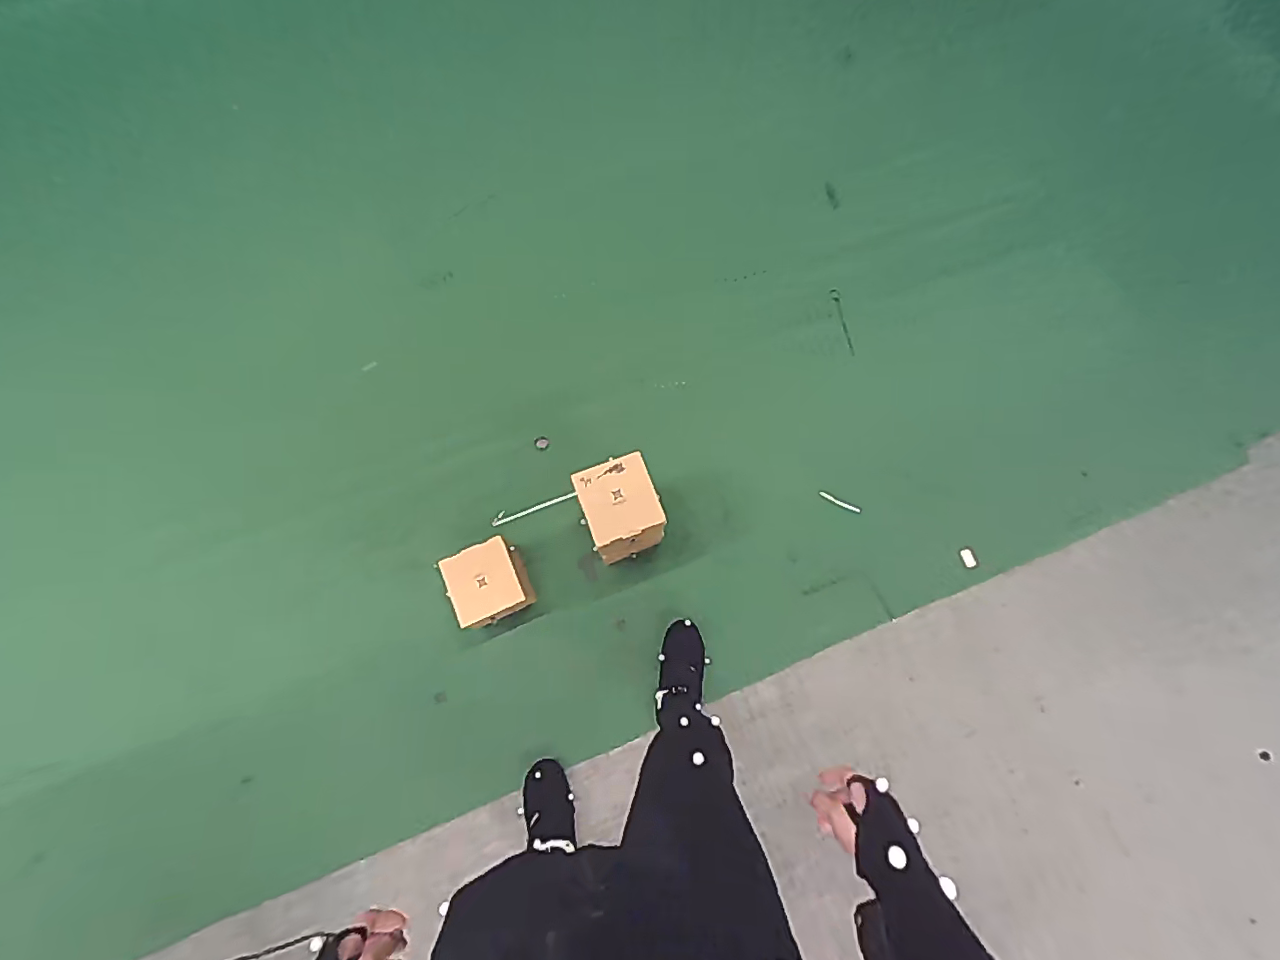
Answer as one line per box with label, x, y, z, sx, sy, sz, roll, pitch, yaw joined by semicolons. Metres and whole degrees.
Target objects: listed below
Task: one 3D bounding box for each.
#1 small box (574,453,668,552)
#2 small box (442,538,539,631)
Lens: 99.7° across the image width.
small box;-0.042;0.062;1.258;0.168;0.176;0.179;-20;78;-6
small box;-0.373;0.267;1.375;0.168;0.176;0.179;-24;76;-6
